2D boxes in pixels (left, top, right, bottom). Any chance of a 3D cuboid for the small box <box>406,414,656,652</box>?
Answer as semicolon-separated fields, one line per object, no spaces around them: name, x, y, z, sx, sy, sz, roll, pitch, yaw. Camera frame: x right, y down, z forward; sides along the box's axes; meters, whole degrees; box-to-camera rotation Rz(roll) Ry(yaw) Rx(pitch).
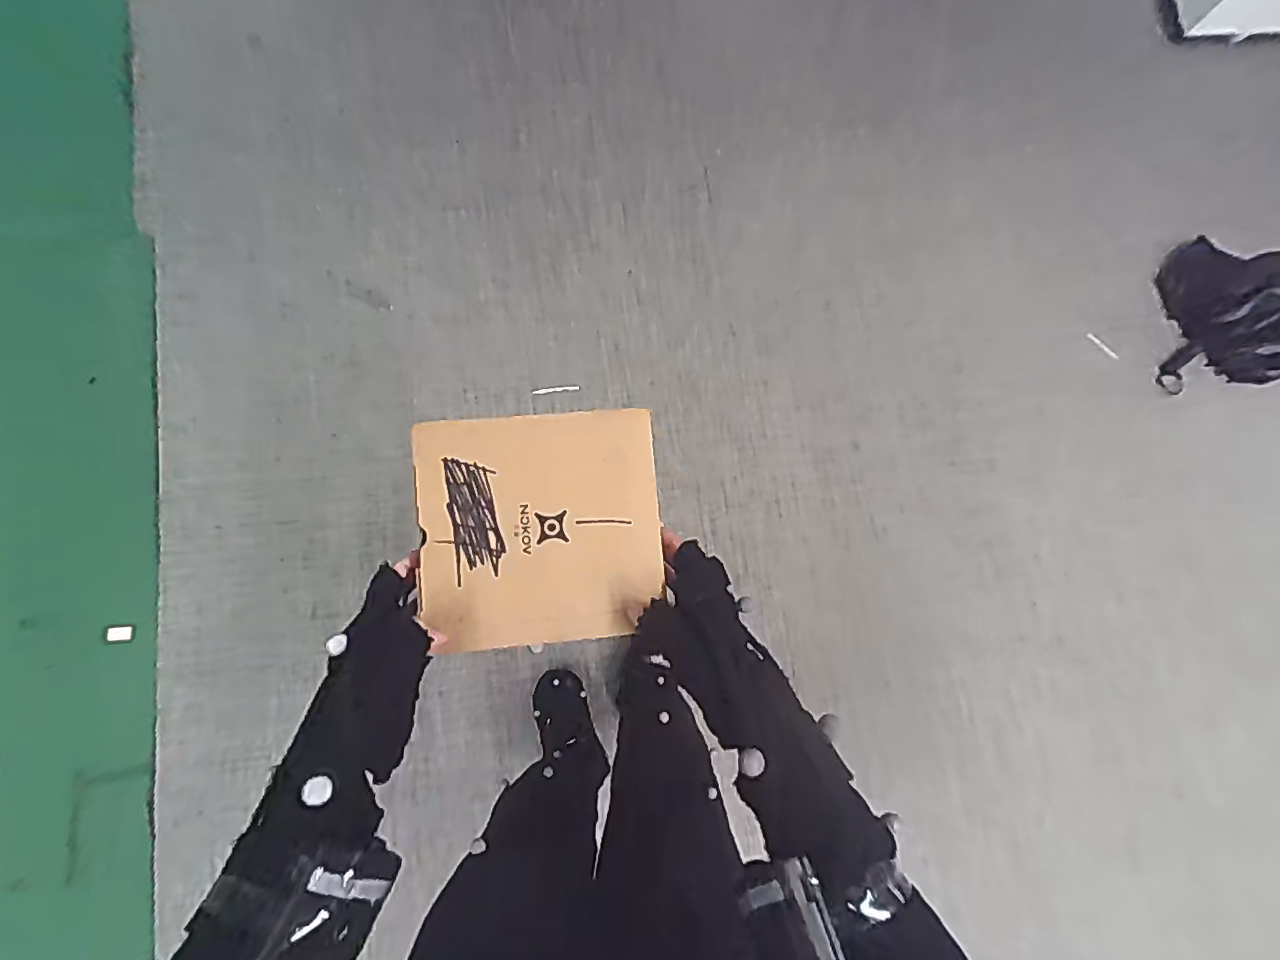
small box;-0.084;0.045;0.472;0.179;0.176;0.168;-4;85;-5
